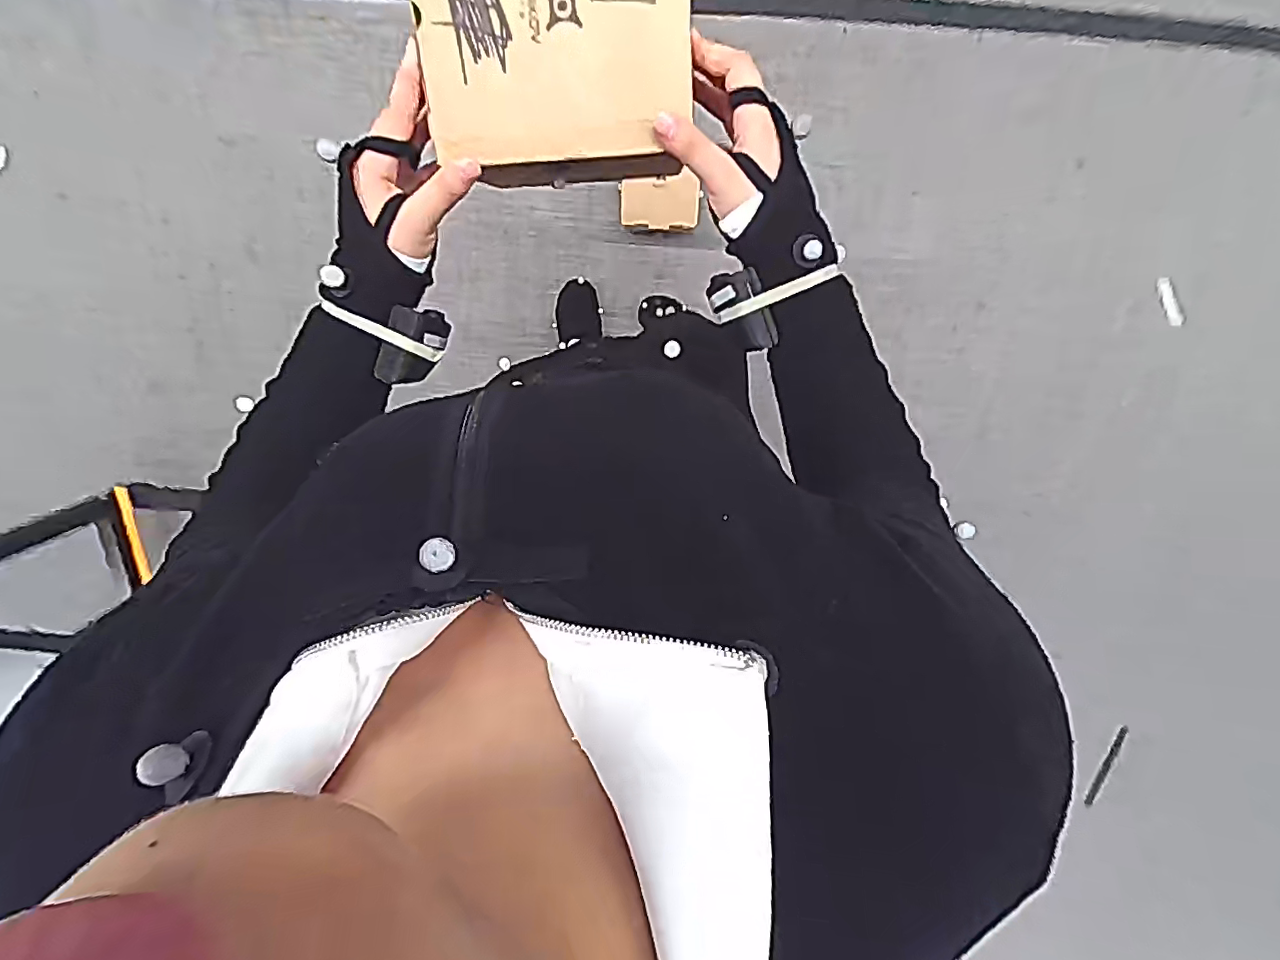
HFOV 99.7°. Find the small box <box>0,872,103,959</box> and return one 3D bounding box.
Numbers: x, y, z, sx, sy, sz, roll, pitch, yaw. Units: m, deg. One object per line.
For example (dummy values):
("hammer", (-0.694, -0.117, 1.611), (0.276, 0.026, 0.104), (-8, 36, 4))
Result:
("small box", (-1.226, 0.913, 1.060), (0.168, 0.176, 0.179), (7, 111, 1))

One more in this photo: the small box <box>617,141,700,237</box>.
("small box", (0.040, -0.639, 1.197), (0.168, 0.176, 0.179), (3, 112, 1))

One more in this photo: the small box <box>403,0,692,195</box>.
("small box", (-0.057, -0.315, 0.401), (0.179, 0.176, 0.168), (-4, 114, 1))
